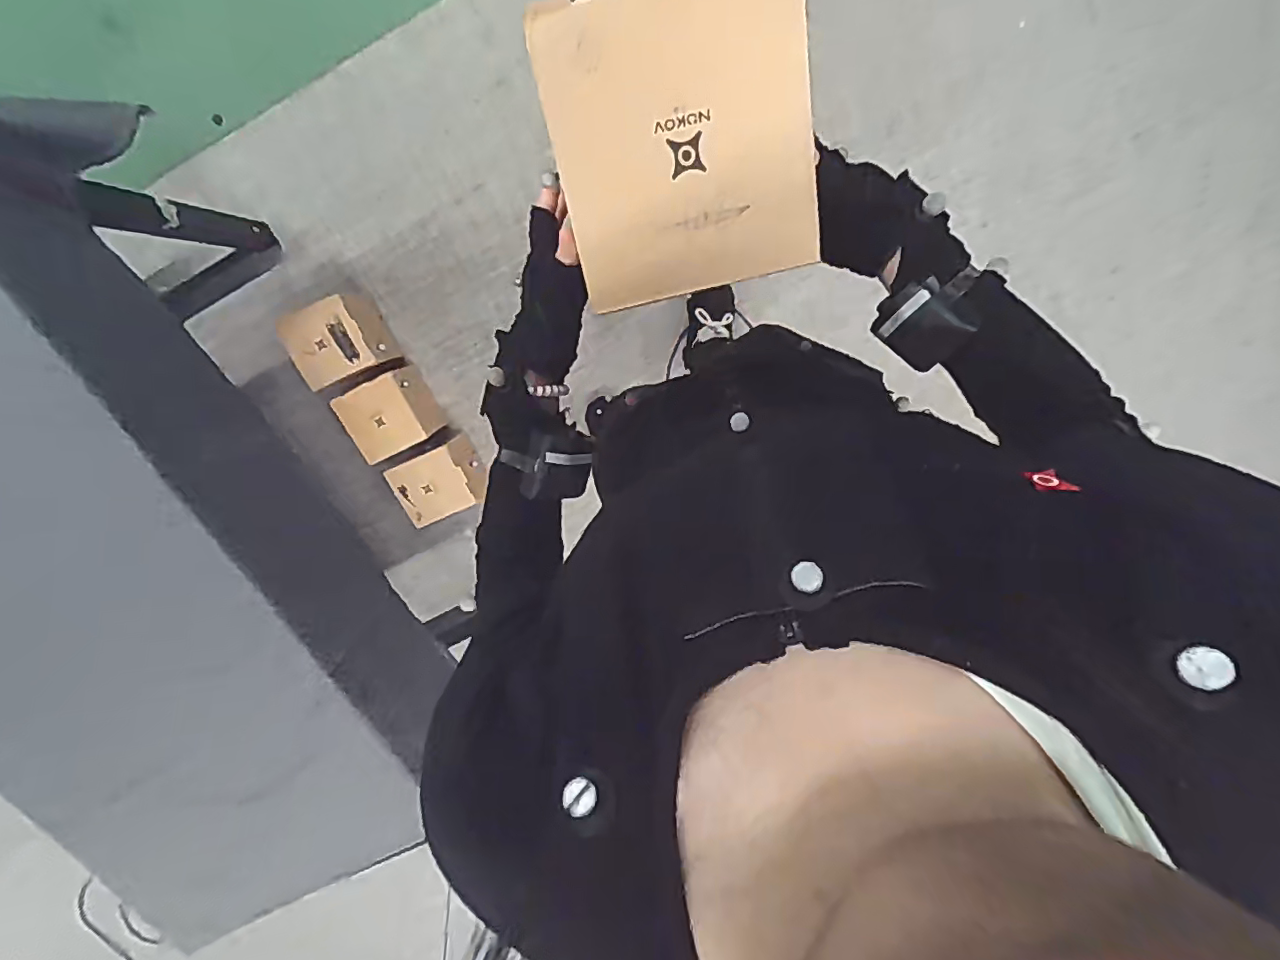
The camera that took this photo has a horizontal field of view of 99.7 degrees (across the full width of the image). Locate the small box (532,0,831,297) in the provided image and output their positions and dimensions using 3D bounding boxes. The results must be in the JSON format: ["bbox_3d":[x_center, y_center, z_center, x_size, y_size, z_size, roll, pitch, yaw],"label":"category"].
[{"bbox_3d":[0.025,-0.250,0.401,0.168,0.176,0.179,-13,117,1],"label":"small box"}]
